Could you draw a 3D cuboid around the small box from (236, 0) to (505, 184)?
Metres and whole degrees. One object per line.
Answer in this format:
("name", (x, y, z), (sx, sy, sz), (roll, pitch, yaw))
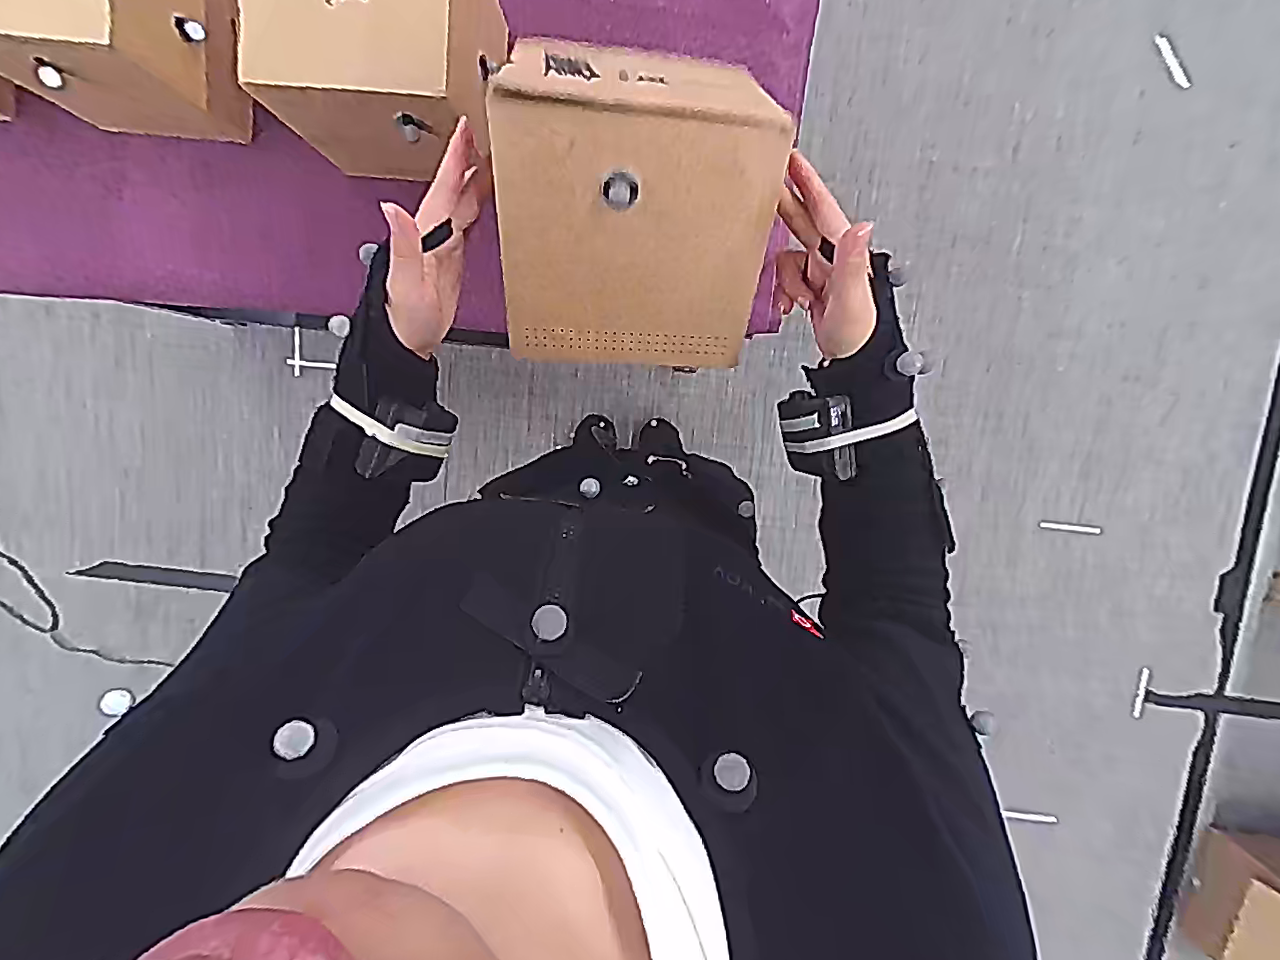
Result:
("small box", (-0.236, -0.404, 0.513), (0.179, 0.176, 0.168), (5, 95, 1))

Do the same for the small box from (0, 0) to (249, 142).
("small box", (-0.510, -0.454, 0.518), (0.179, 0.176, 0.168), (6, 97, 1))
